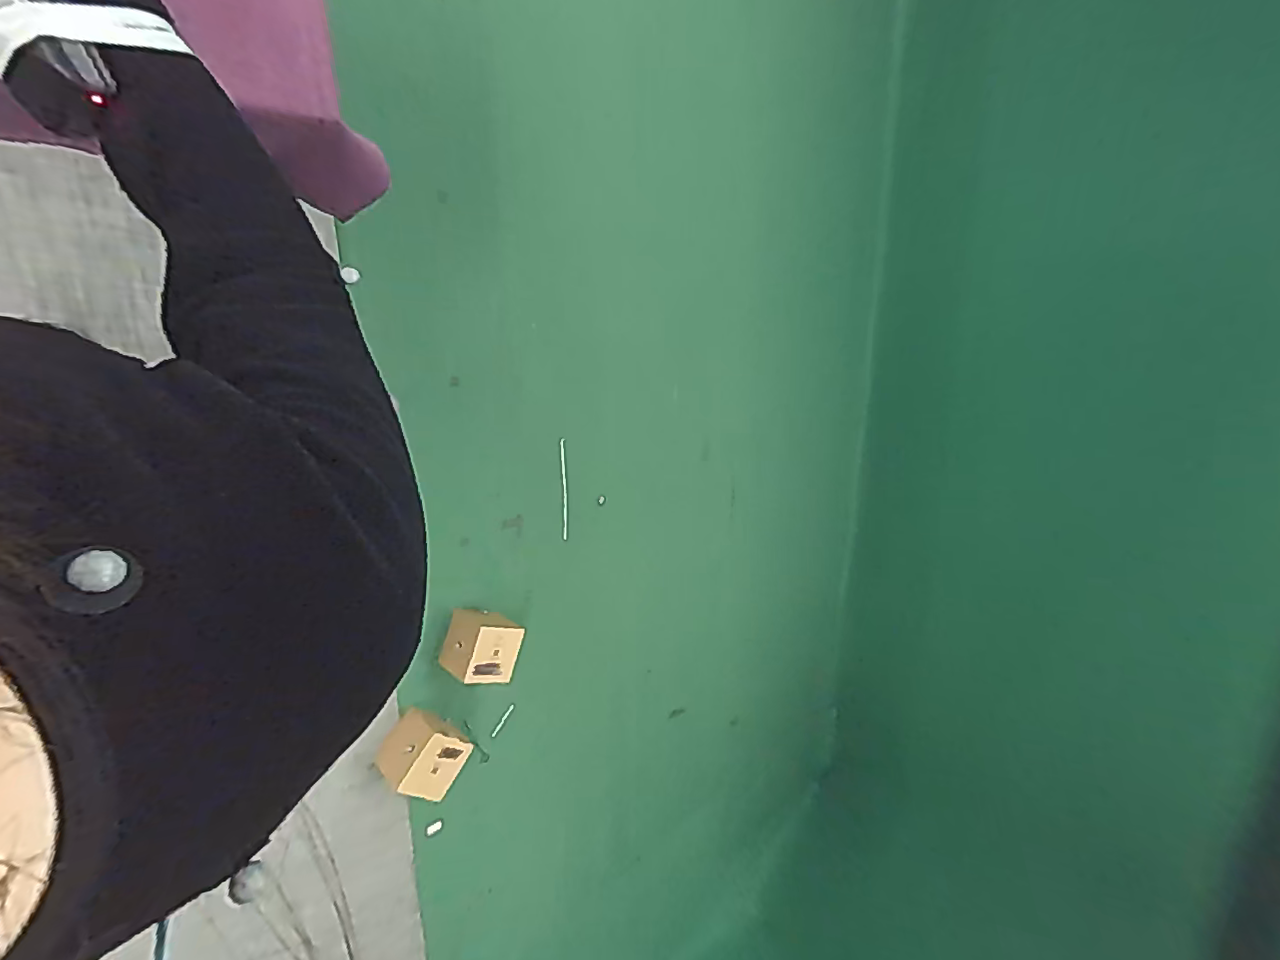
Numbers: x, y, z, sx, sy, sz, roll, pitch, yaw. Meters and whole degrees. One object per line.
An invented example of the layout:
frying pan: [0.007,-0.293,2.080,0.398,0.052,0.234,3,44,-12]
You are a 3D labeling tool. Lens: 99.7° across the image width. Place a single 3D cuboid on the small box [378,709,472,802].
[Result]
small box: [-0.649,0.821,1.625,0.179,0.176,0.168,-57,133,-18]
